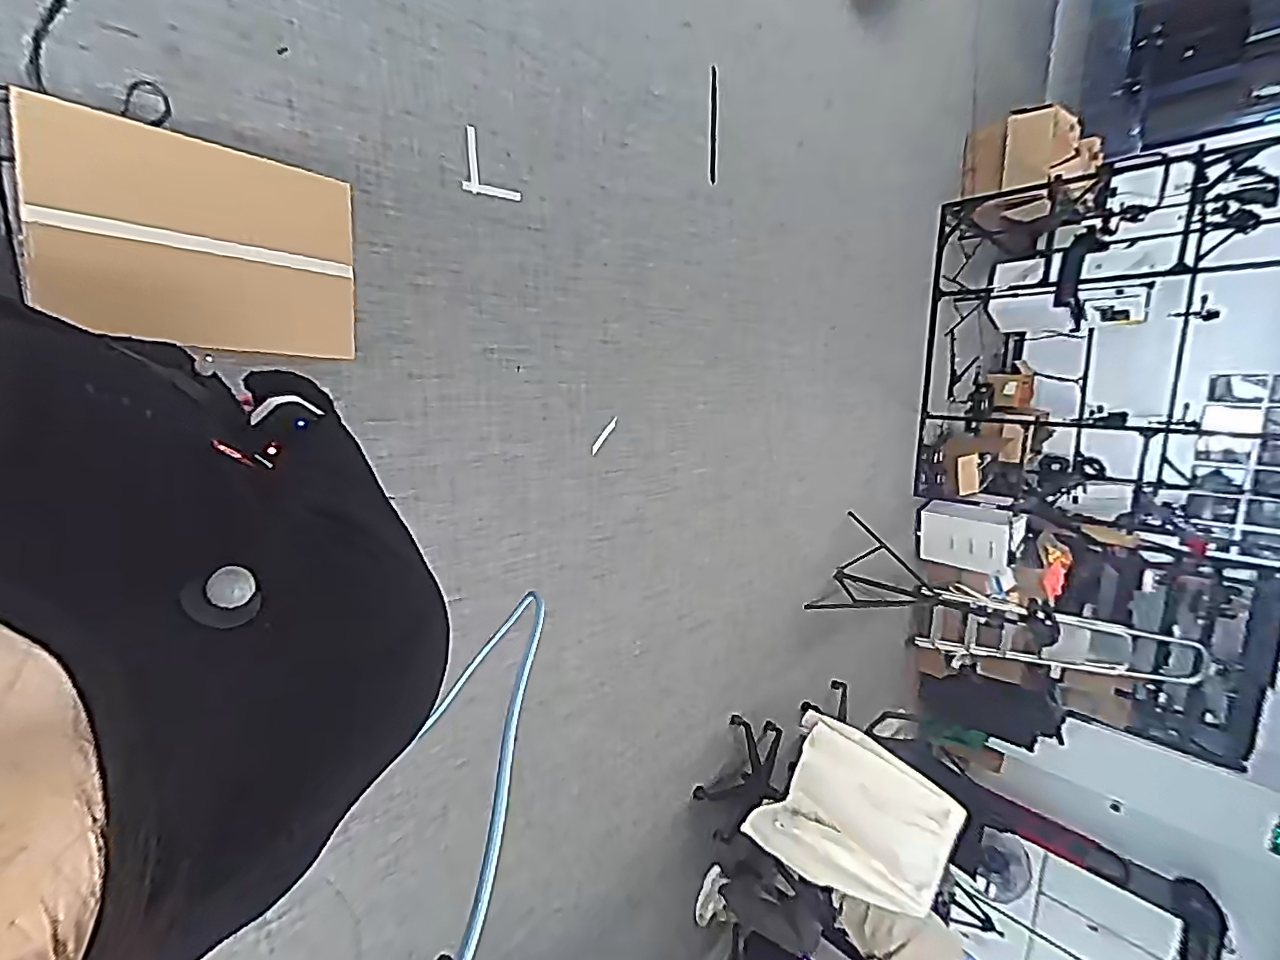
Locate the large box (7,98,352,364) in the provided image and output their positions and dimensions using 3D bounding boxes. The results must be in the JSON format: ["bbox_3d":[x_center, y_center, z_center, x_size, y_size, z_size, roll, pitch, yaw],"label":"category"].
[{"bbox_3d":[-0.781,-0.378,0.955,0.408,0.320,0.320,-5,102,-44],"label":"large box"}]
